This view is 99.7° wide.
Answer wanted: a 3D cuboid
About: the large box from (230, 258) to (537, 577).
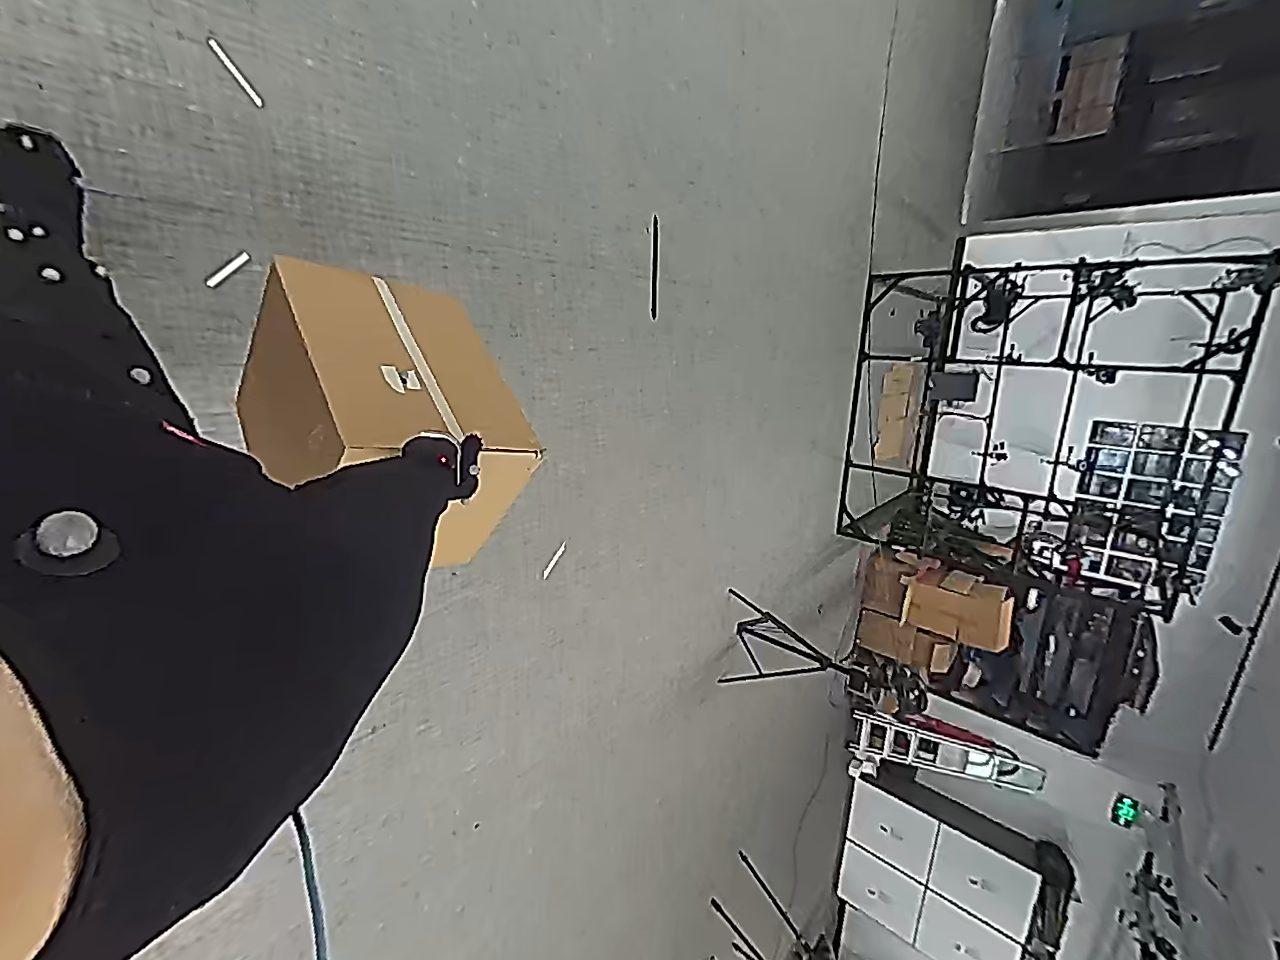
[{"bbox_3d":[-0.456,-0.098,0.941,0.320,0.408,0.320,-2,141,-51],"label":"large box"}]
